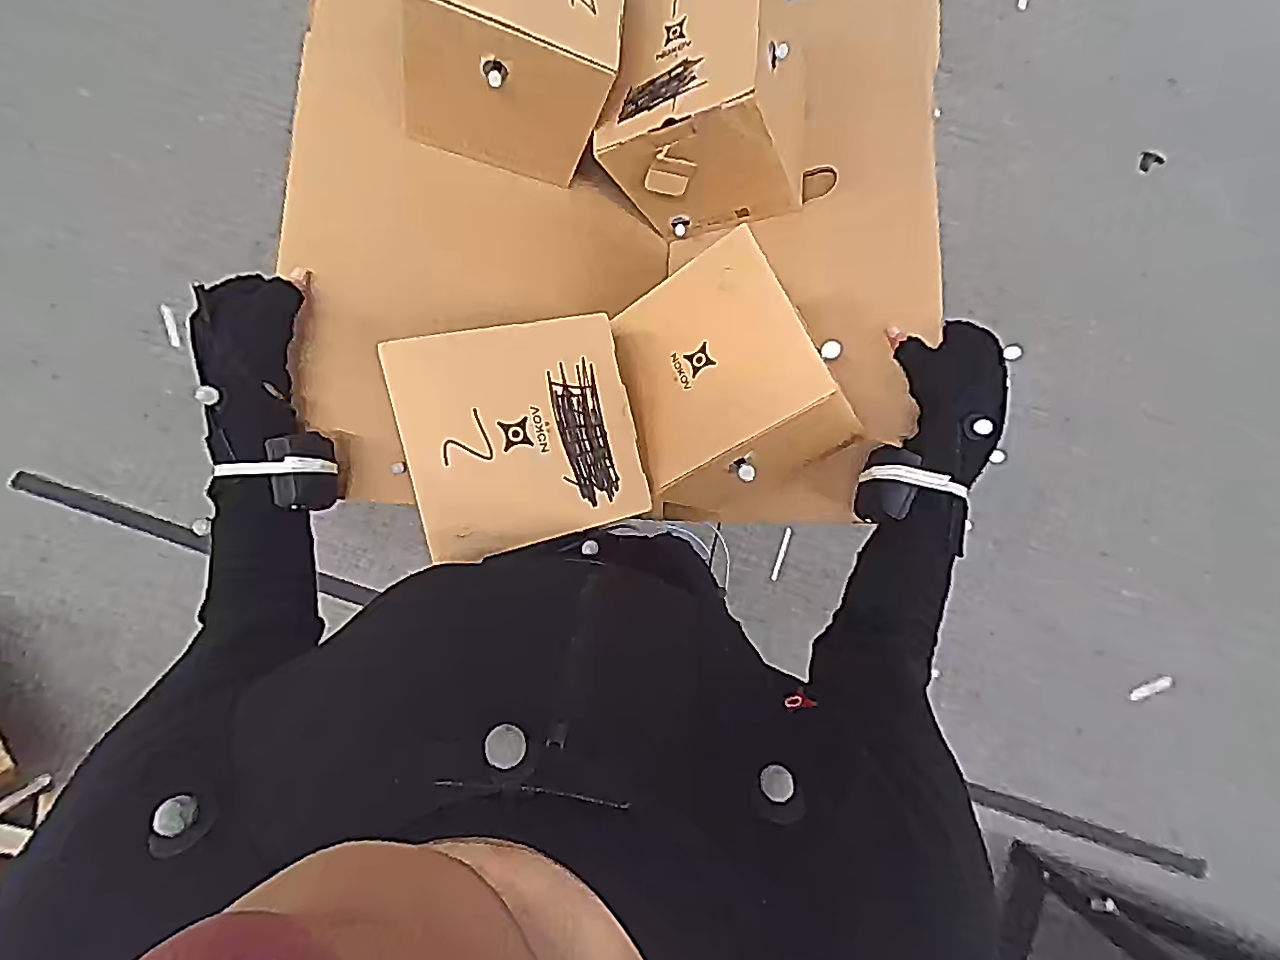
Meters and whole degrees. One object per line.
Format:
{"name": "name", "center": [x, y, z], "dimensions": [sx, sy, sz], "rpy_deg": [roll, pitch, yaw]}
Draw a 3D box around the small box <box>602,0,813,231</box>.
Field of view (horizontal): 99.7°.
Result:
{"name": "small box", "center": [0.080, -0.390, 0.571], "dimensions": [0.168, 0.176, 0.179], "rpy_deg": [1, 80, 30]}
